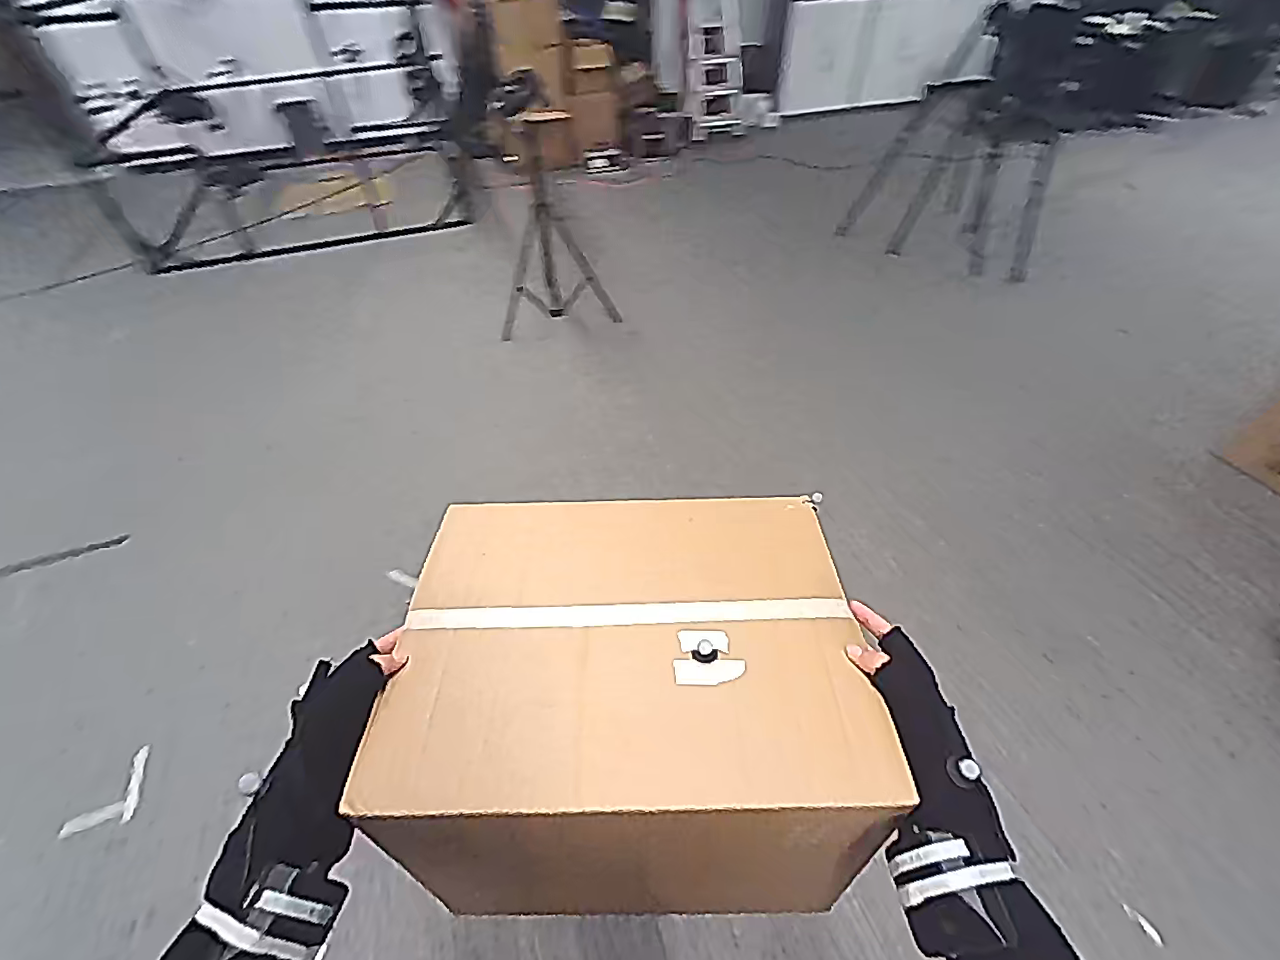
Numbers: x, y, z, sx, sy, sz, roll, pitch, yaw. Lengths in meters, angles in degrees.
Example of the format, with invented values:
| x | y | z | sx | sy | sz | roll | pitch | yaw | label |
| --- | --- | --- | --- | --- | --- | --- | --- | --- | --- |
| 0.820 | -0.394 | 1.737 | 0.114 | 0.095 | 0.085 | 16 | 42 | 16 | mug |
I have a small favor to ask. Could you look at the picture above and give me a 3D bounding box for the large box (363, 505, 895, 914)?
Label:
| x | y | z | sx | sy | sz | roll | pitch | yaw | label |
| --- | --- | --- | --- | --- | --- | --- | --- | --- | --- |
| -0.009 | 0.248 | 0.604 | 0.408 | 0.320 | 0.320 | -2 | 41 | 0 | large box |
